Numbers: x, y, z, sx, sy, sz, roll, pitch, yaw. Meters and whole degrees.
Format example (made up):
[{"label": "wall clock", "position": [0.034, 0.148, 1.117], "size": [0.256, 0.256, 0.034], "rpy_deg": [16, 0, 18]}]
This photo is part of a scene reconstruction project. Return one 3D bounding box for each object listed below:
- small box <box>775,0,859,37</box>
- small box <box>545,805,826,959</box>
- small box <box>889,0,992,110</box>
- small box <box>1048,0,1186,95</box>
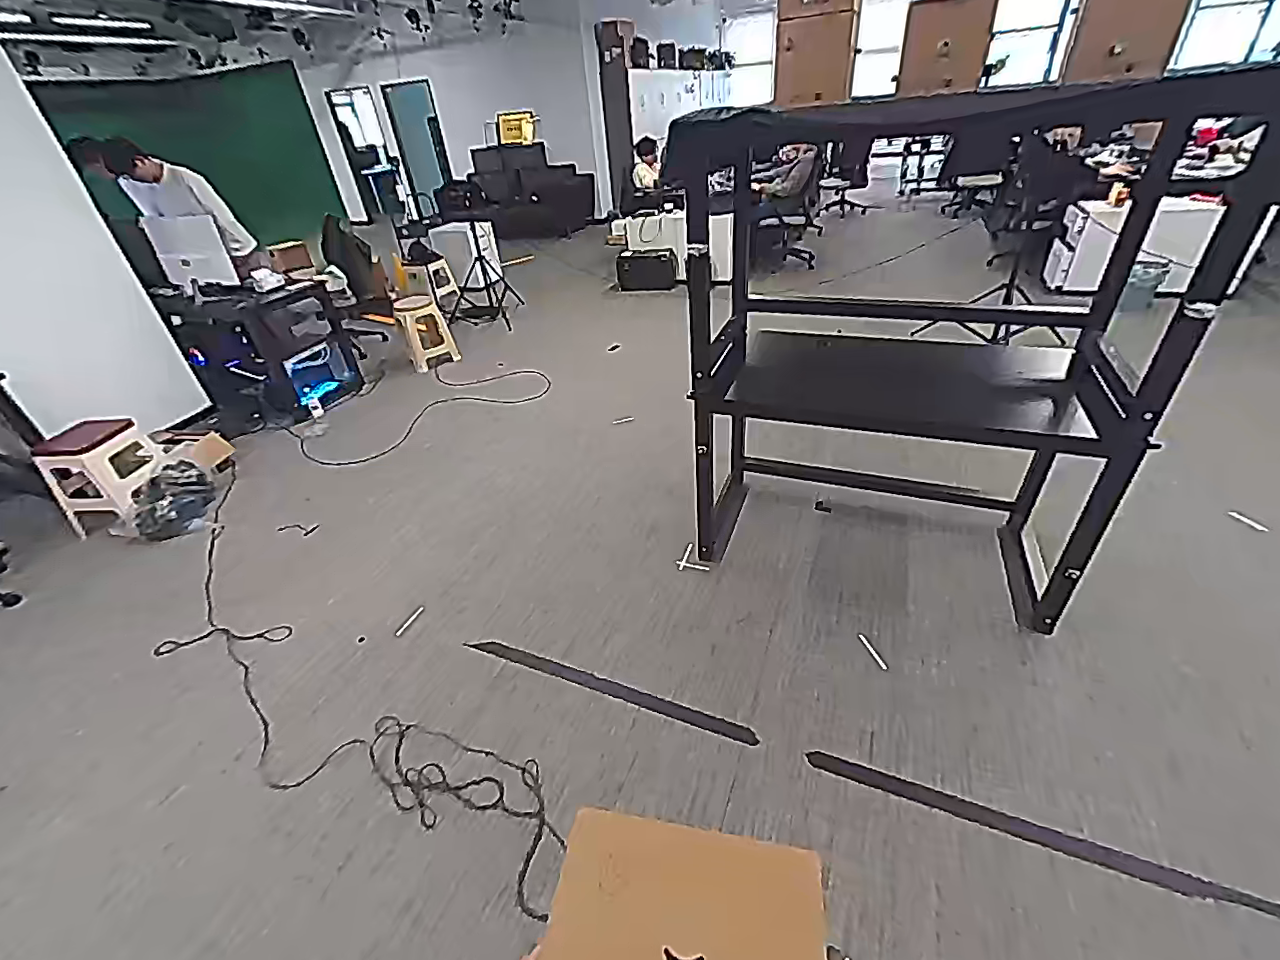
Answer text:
[{"label": "small box", "position": [0.399, -1.105, 1.201], "size": [0.168, 0.176, 0.179], "rpy_deg": [8, 36, 21]}, {"label": "small box", "position": [0.025, 0.355, 0.352], "size": [0.168, 0.176, 0.179], "rpy_deg": [4, 35, 10]}, {"label": "small box", "position": [0.657, -0.929, 1.196], "size": [0.168, 0.176, 0.179], "rpy_deg": [11, 36, 21]}, {"label": "small box", "position": [0.944, -0.877, 1.081], "size": [0.168, 0.176, 0.179], "rpy_deg": [13, 38, 26]}]
